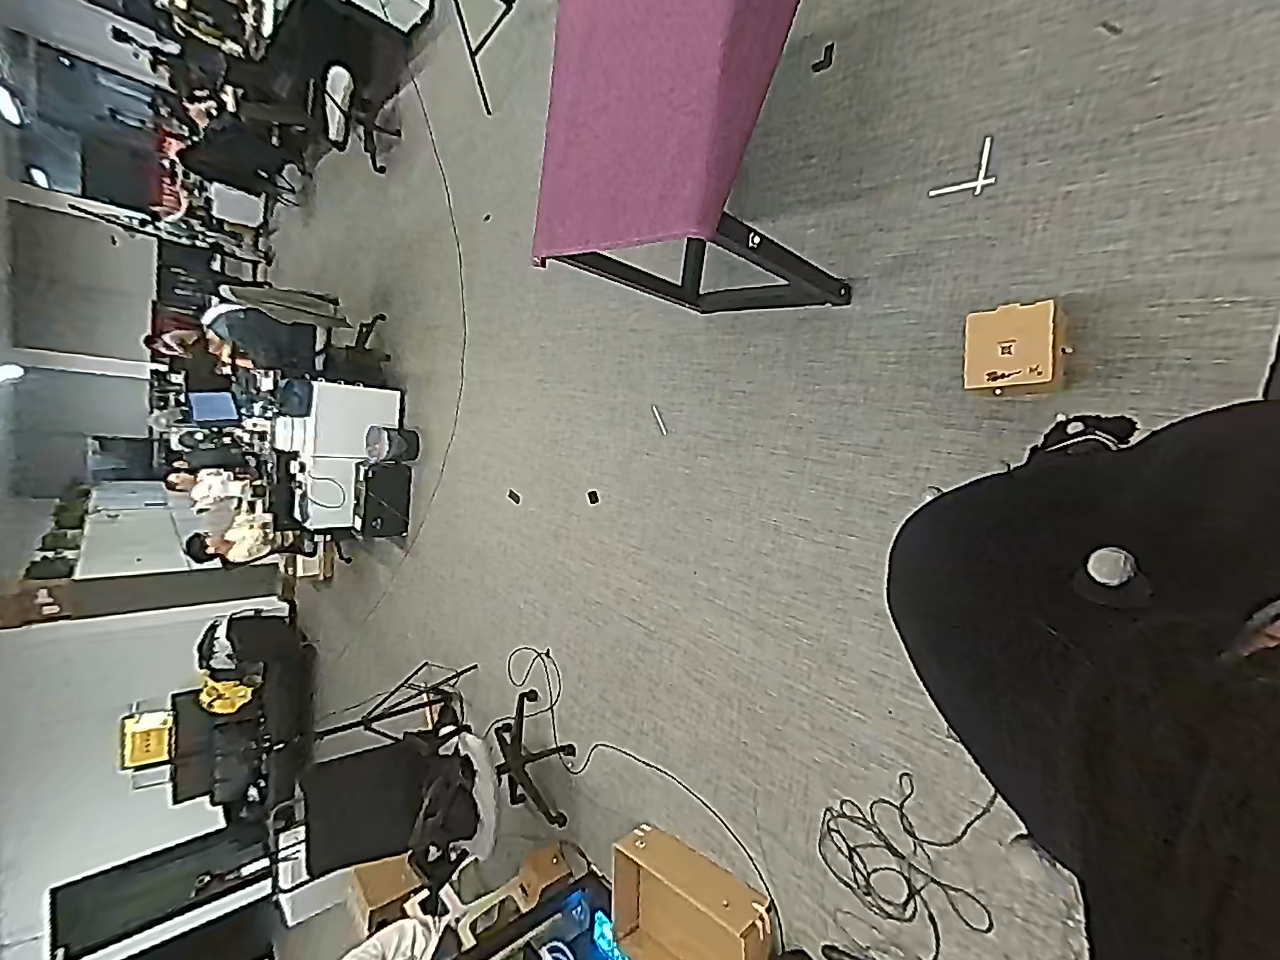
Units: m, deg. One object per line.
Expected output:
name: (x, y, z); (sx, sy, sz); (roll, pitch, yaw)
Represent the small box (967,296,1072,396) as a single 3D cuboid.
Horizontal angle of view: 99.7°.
small box: (0.862, -0.295, 1.227); (0.168, 0.176, 0.179); (2, 90, 46)
